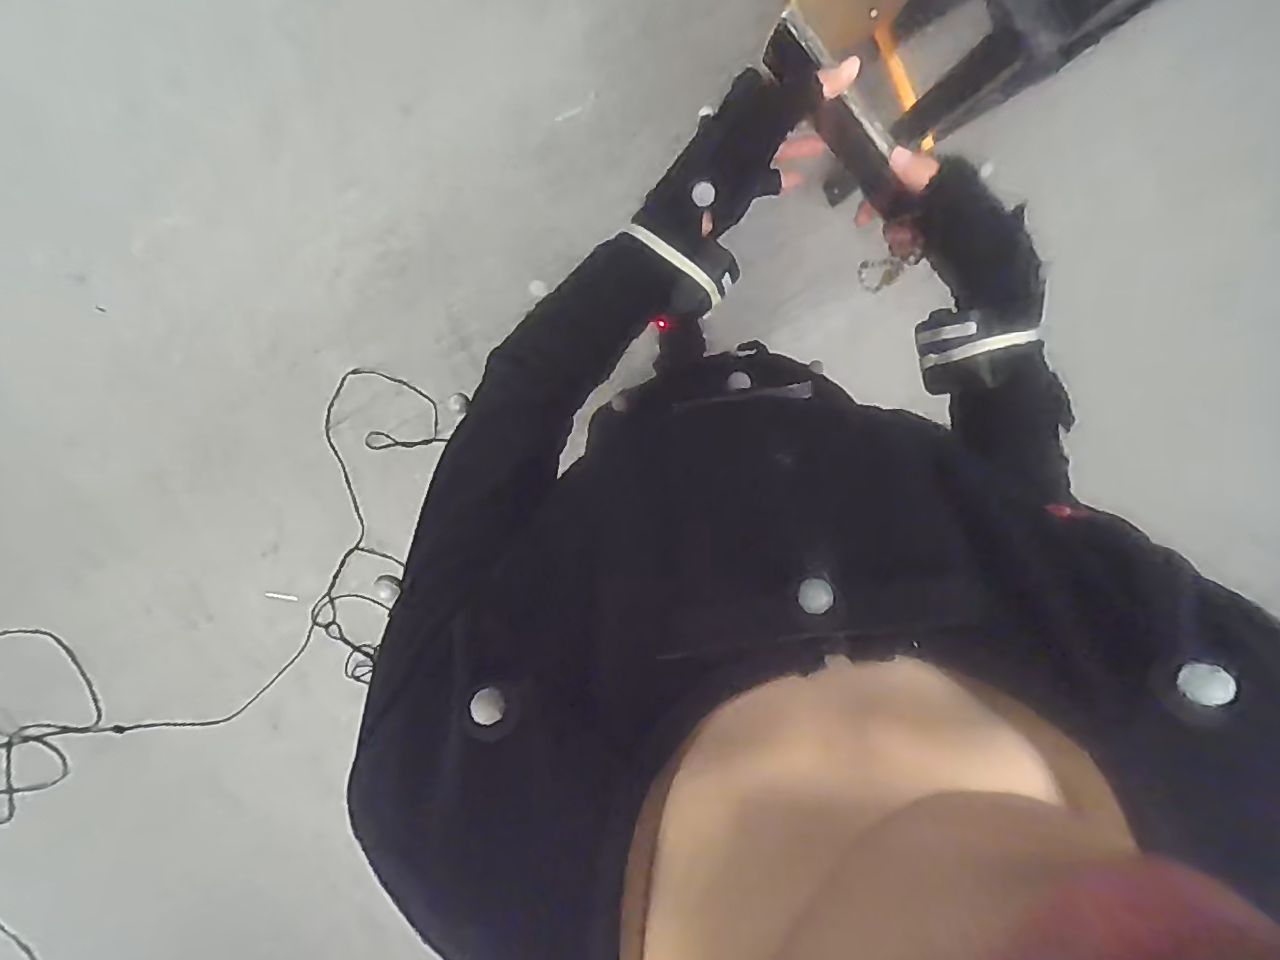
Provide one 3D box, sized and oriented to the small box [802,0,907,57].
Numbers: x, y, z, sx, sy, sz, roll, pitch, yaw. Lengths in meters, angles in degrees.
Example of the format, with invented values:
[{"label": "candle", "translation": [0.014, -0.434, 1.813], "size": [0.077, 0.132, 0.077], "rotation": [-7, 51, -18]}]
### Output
[{"label": "small box", "translation": [0.422, -0.978, 1.045], "size": [0.179, 0.176, 0.168], "rotation": [-25, 102, 7]}]
